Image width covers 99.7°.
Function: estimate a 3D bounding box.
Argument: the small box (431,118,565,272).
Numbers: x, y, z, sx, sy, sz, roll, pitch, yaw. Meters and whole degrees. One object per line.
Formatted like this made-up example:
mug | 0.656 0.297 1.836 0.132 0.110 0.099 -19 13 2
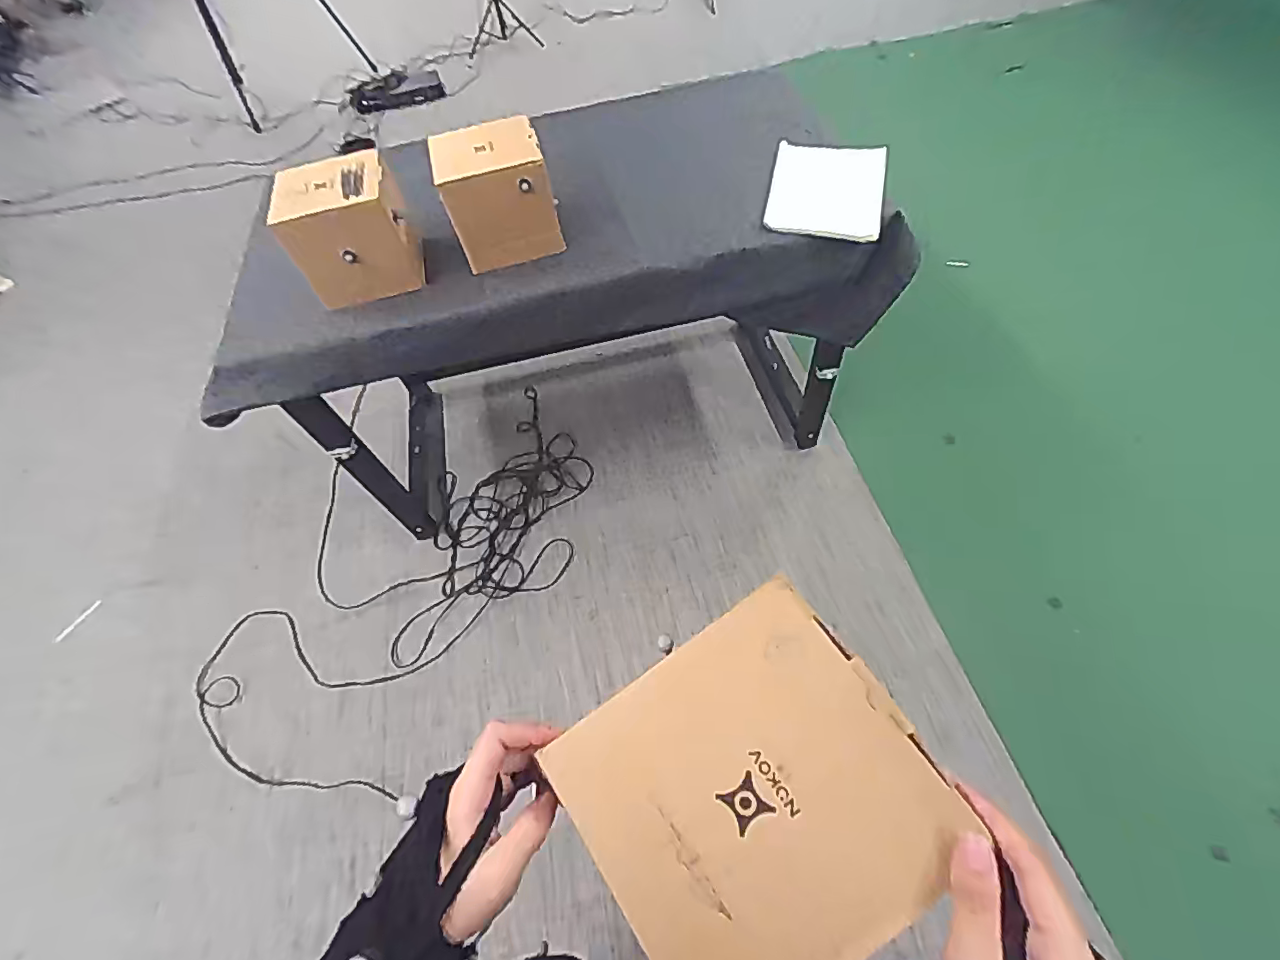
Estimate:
small box | -0.247 -0.497 0.956 0.179 0.176 0.168 -17 57 -5
